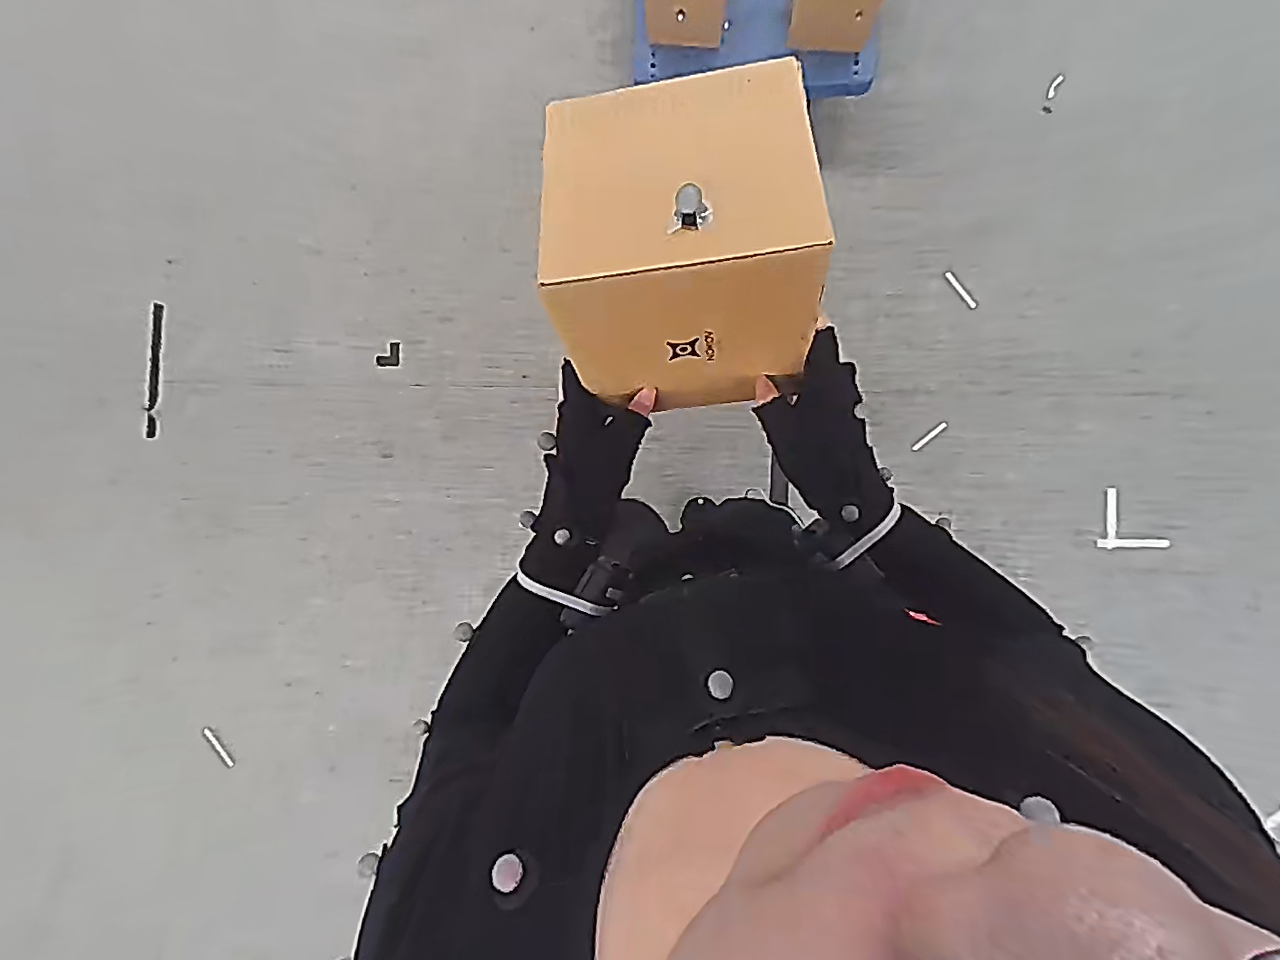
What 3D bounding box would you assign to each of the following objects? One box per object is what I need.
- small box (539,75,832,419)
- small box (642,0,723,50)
[{"bbox_3d":[0.032,-0.168,0.420,0.179,0.168,0.176,-6,67,7],"label":"small box"},{"bbox_3d":[0.104,-1.114,1.216,0.179,0.176,0.168,7,91,5],"label":"small box"}]
